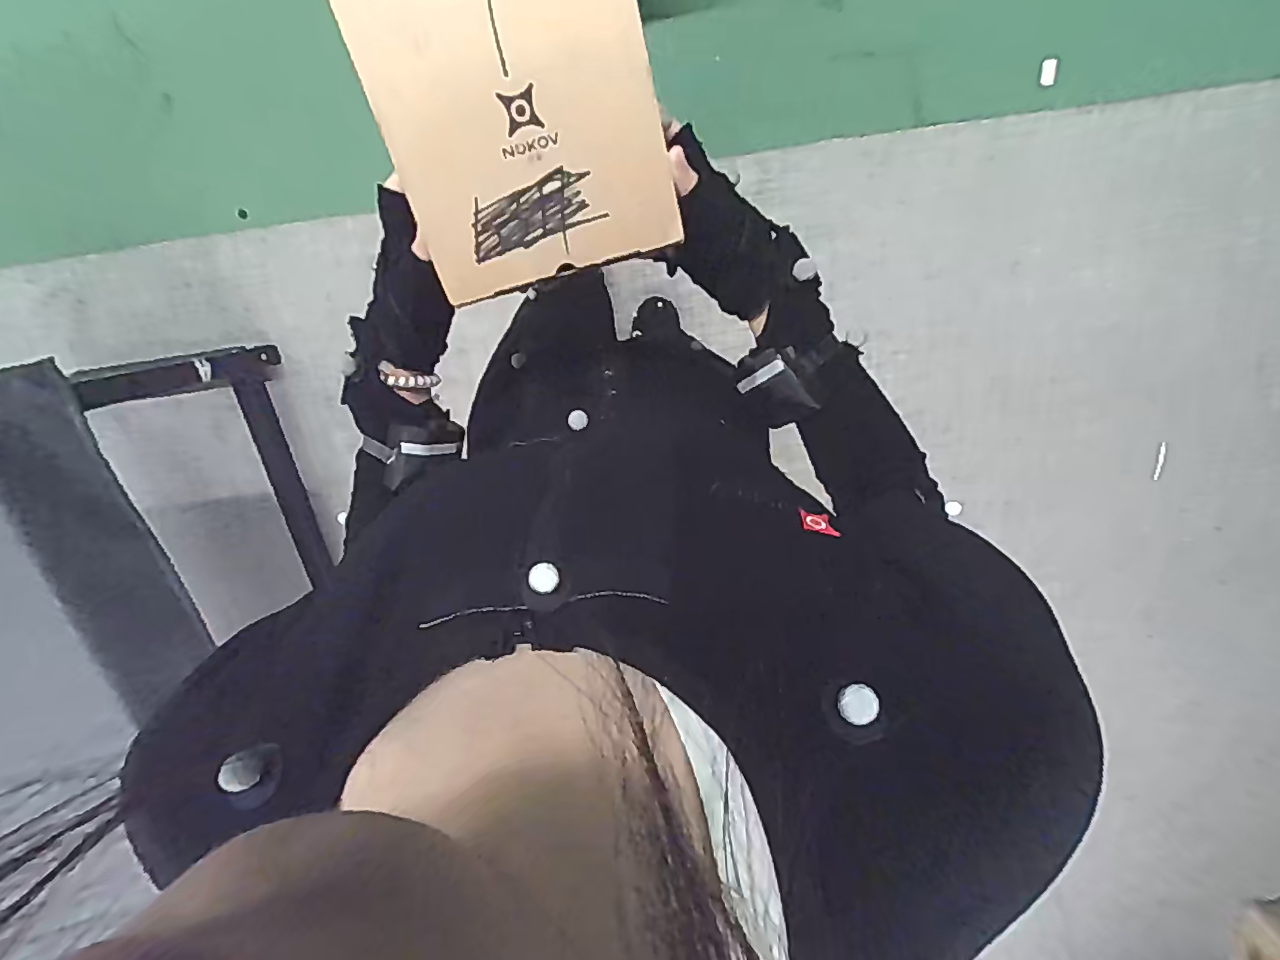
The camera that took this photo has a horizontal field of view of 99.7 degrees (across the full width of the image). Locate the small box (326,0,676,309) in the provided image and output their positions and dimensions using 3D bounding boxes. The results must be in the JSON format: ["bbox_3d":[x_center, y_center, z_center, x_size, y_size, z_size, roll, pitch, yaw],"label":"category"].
[{"bbox_3d":[-0.079,-0.245,0.398,0.168,0.176,0.179,-16,116,2],"label":"small box"}]
